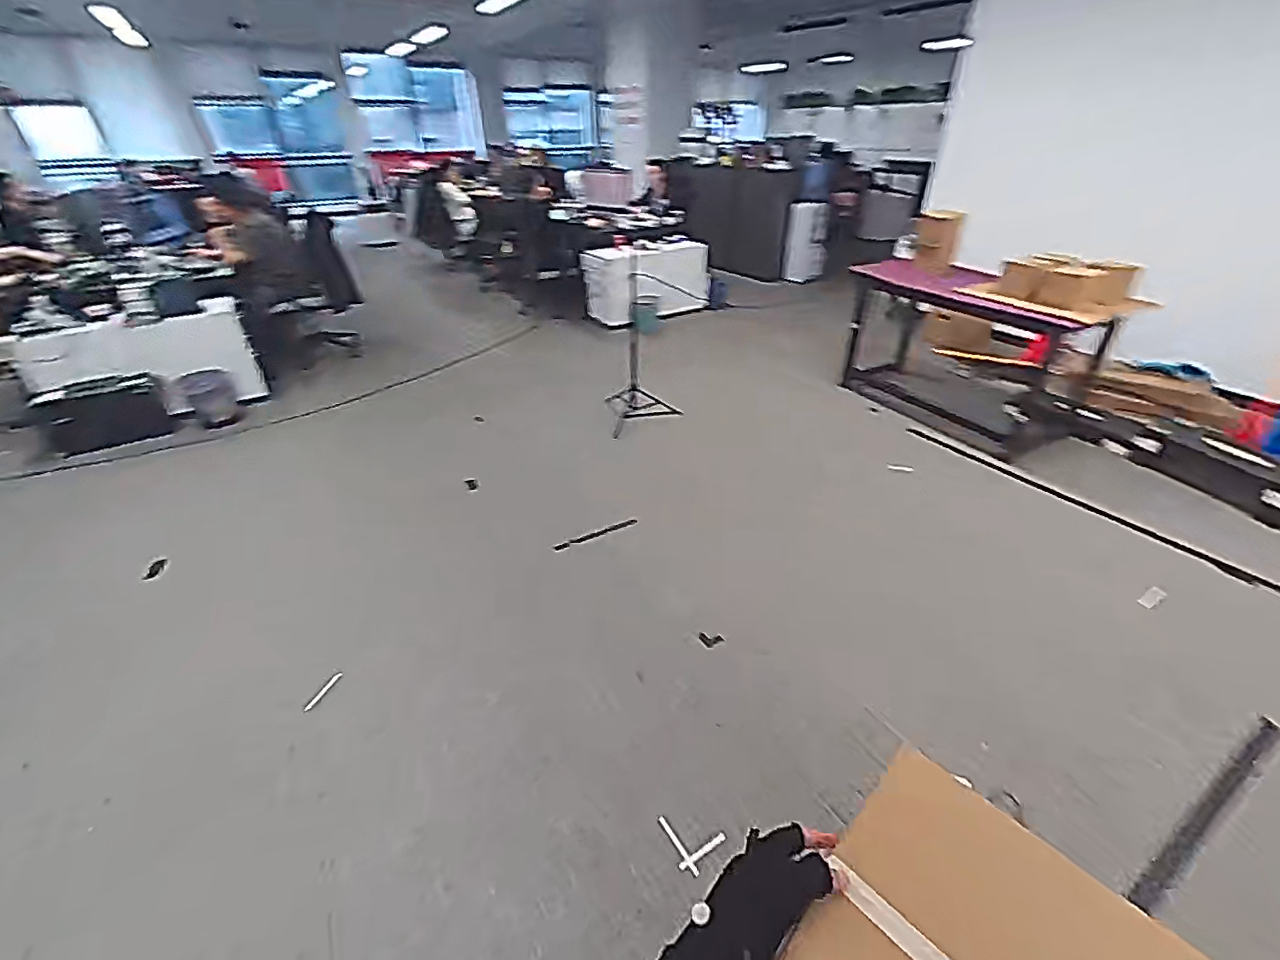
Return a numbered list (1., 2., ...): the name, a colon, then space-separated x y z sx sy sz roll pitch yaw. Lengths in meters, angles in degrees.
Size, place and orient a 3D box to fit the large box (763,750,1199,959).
1. large box: 0.316 0.556 0.488 0.320 0.320 0.408 -34 49 -32
